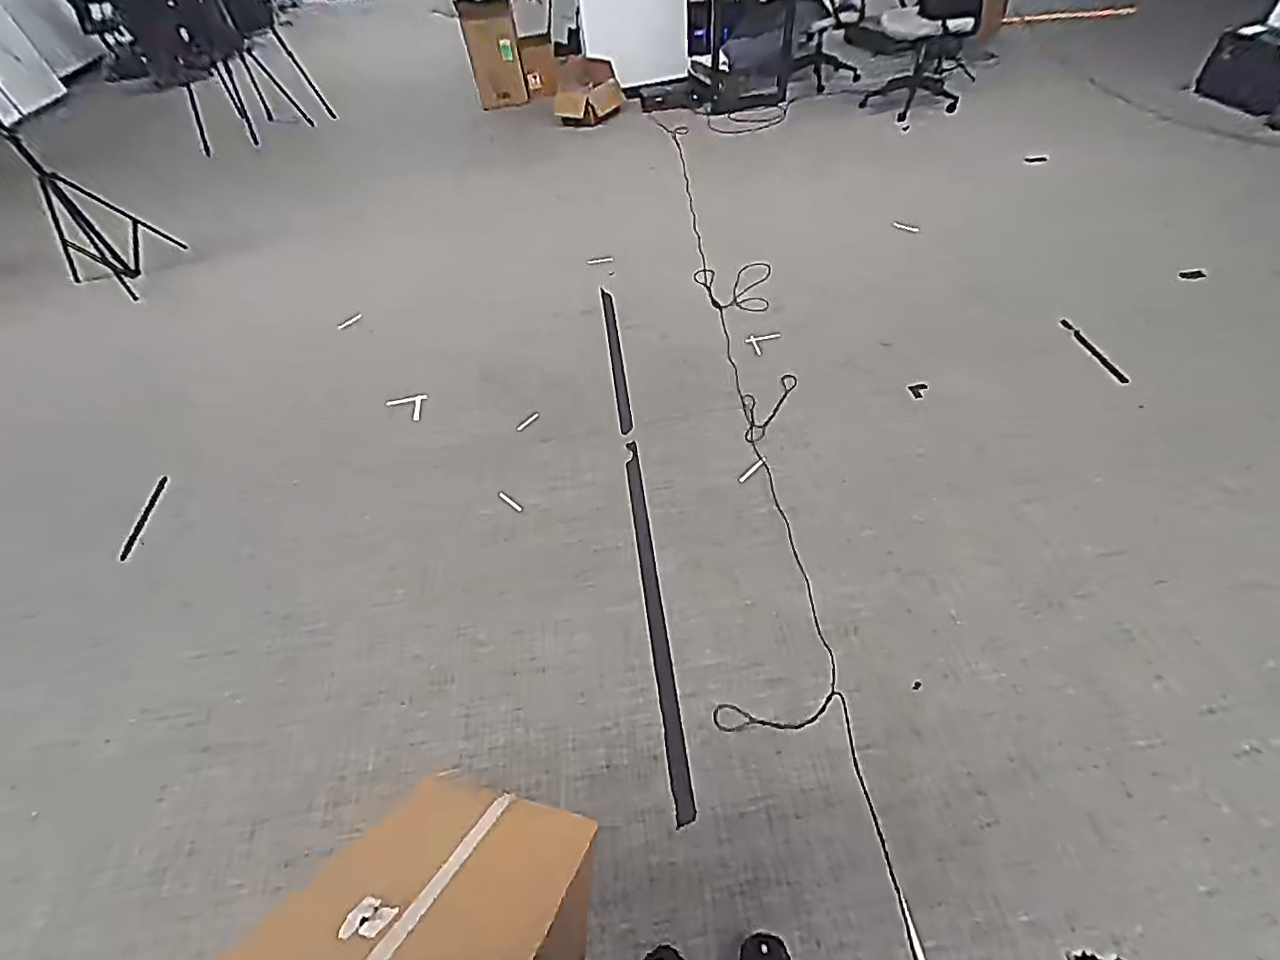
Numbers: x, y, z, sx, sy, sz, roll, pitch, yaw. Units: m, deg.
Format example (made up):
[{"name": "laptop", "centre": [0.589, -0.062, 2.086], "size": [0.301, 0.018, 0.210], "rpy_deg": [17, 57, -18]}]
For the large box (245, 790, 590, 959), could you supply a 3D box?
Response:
[{"name": "large box", "centre": [-0.282, 0.699, 0.707], "size": [0.320, 0.408, 0.320], "rpy_deg": [5, 93, 13]}]
